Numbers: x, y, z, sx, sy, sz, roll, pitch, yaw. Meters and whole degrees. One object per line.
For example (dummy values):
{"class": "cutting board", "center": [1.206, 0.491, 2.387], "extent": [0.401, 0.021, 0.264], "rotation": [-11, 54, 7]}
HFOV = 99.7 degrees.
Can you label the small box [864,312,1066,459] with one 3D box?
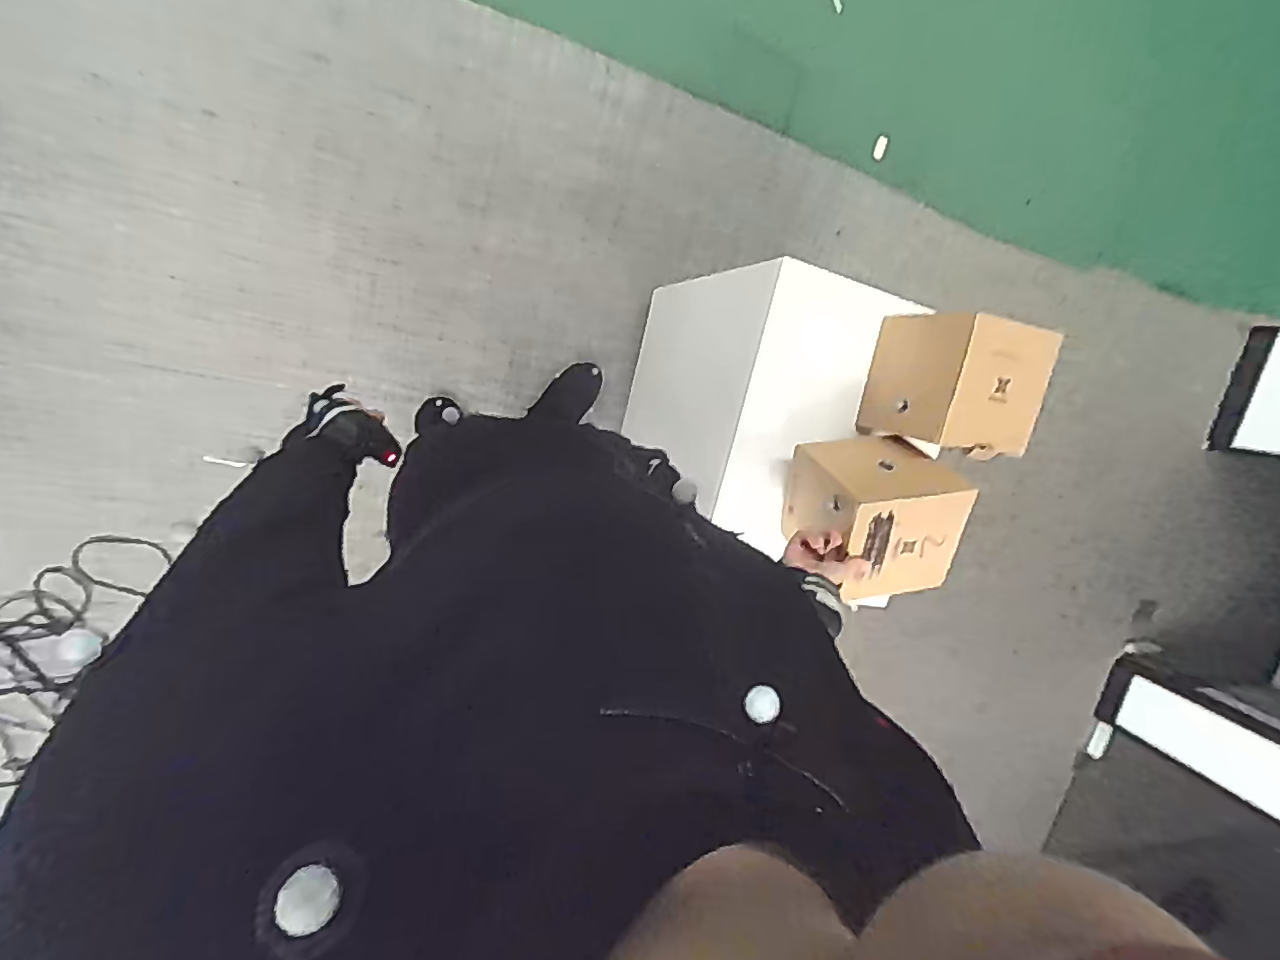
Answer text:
{"class": "small box", "center": [0.461, -0.140, 0.793], "extent": [0.168, 0.176, 0.179], "rotation": [5, 102, -20]}
